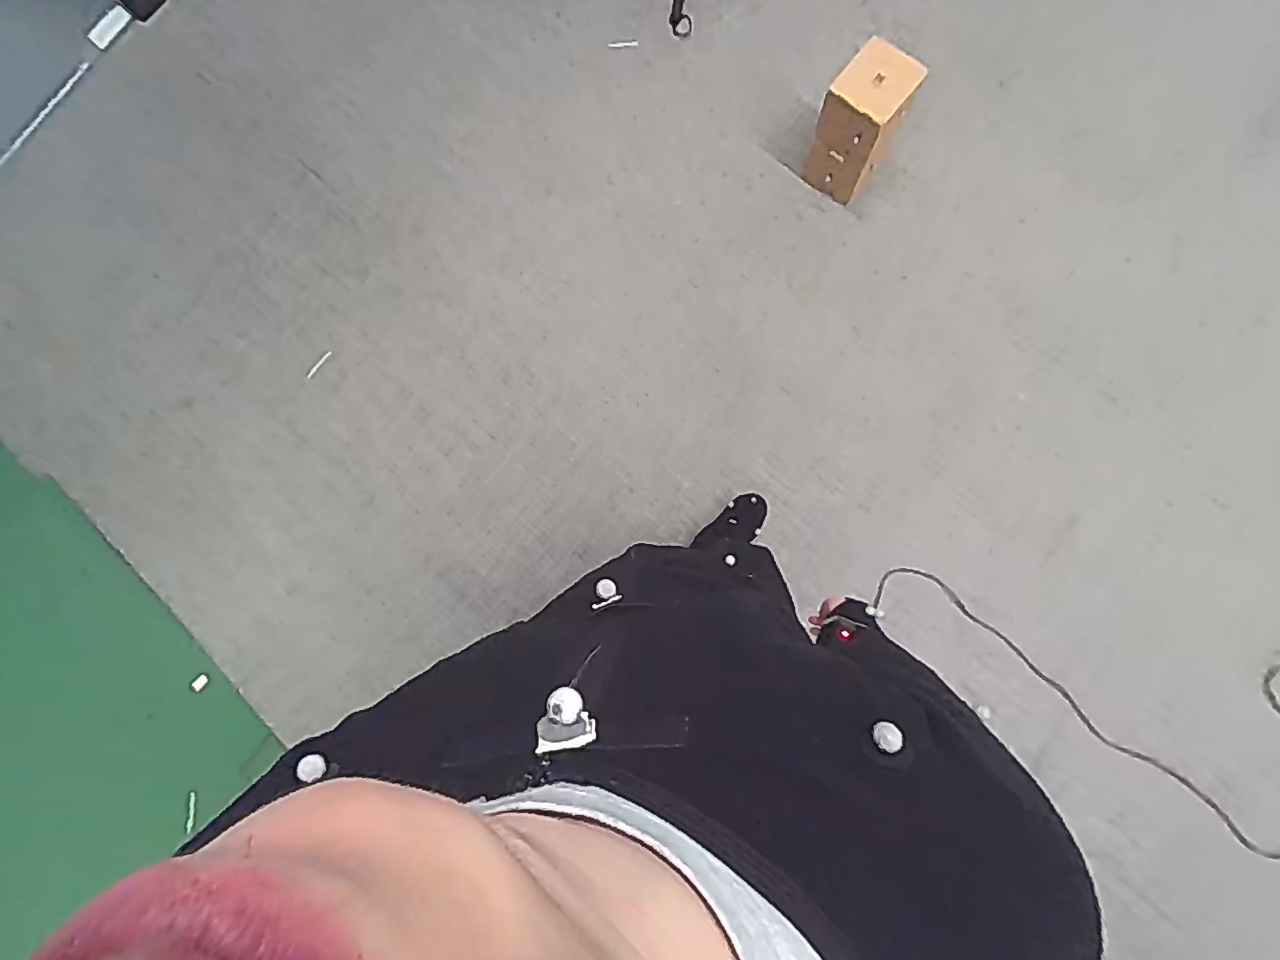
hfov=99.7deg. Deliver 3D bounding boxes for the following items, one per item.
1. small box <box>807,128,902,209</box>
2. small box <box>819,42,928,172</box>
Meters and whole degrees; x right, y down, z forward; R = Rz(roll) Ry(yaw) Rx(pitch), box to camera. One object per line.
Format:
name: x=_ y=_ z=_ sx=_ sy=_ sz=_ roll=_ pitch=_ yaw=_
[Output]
small box: x=0.593 y=-0.912 z=1.527 sx=0.168 sy=0.176 sz=0.179 roll=39 pitch=89 yaw=9
small box: x=0.577 y=-0.931 z=1.366 sx=0.168 sy=0.176 sz=0.179 roll=40 pitch=88 yaw=8
